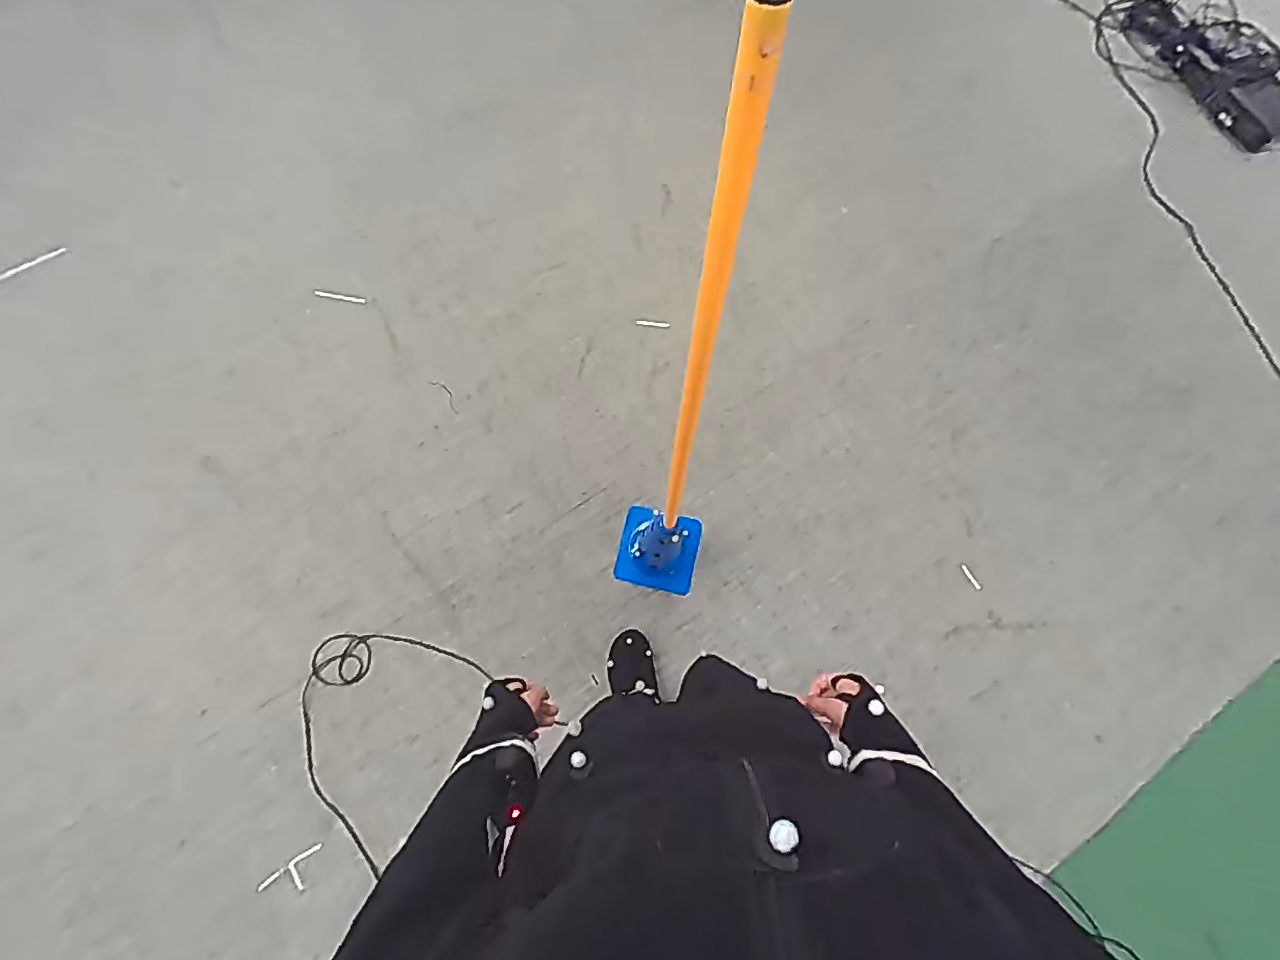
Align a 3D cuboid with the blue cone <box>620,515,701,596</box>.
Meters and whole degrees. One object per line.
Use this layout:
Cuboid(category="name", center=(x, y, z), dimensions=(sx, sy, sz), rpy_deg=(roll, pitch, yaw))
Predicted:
Cuboid(category="blue cone", center=(0.055, 0.140, 1.196), dimensions=(0.192, 0.380, 0.193), rpy_deg=(11, 74, 2))
